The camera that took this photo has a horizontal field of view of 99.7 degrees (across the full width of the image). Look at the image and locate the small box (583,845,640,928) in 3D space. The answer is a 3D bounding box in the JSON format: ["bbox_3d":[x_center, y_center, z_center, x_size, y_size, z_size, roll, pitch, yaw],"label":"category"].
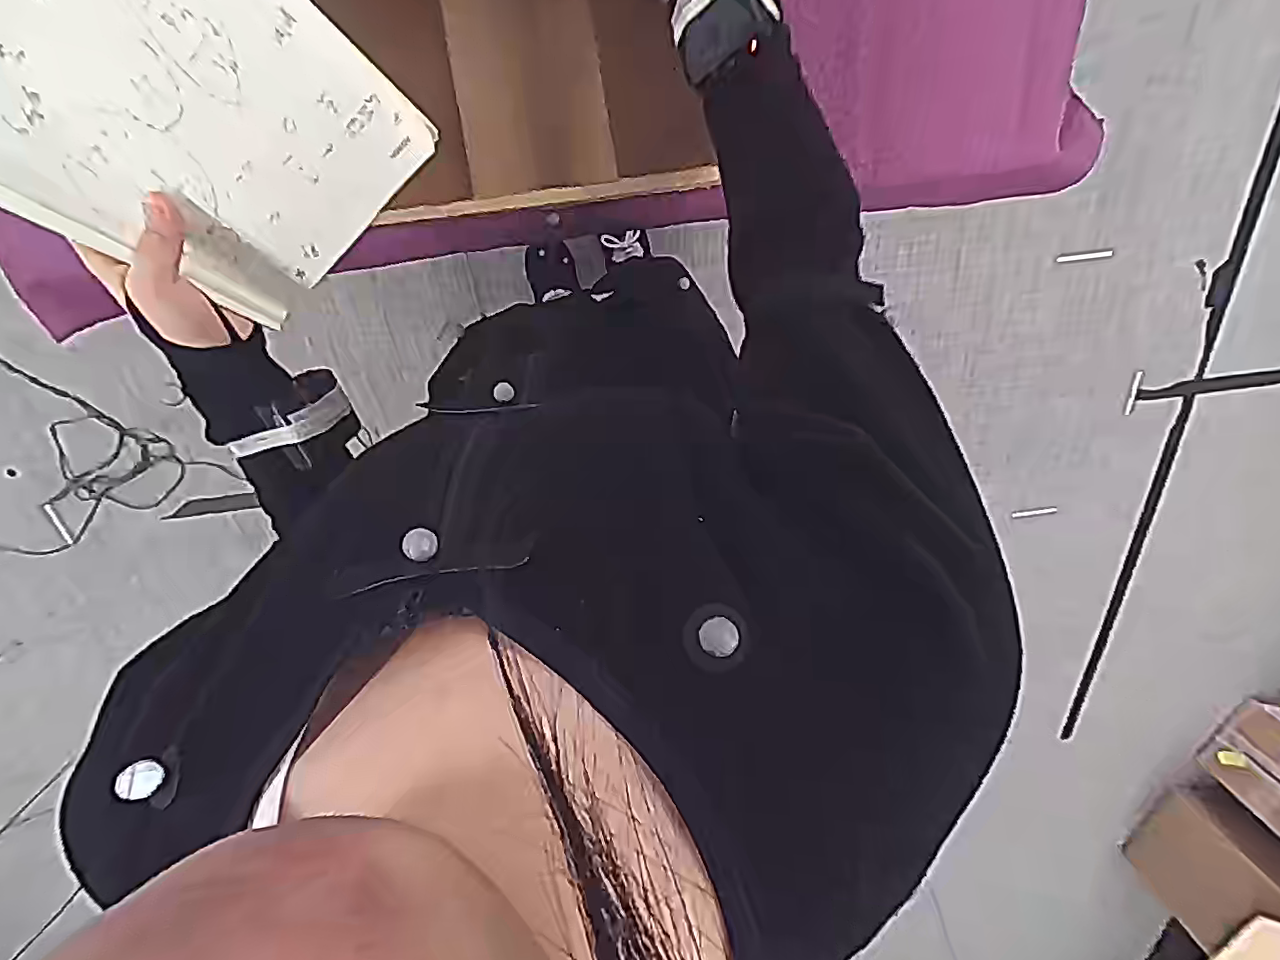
[{"bbox_3d":[-0.099,1.370,1.836,0.168,0.176,0.179,-10,118,0],"label":"small box"}]
